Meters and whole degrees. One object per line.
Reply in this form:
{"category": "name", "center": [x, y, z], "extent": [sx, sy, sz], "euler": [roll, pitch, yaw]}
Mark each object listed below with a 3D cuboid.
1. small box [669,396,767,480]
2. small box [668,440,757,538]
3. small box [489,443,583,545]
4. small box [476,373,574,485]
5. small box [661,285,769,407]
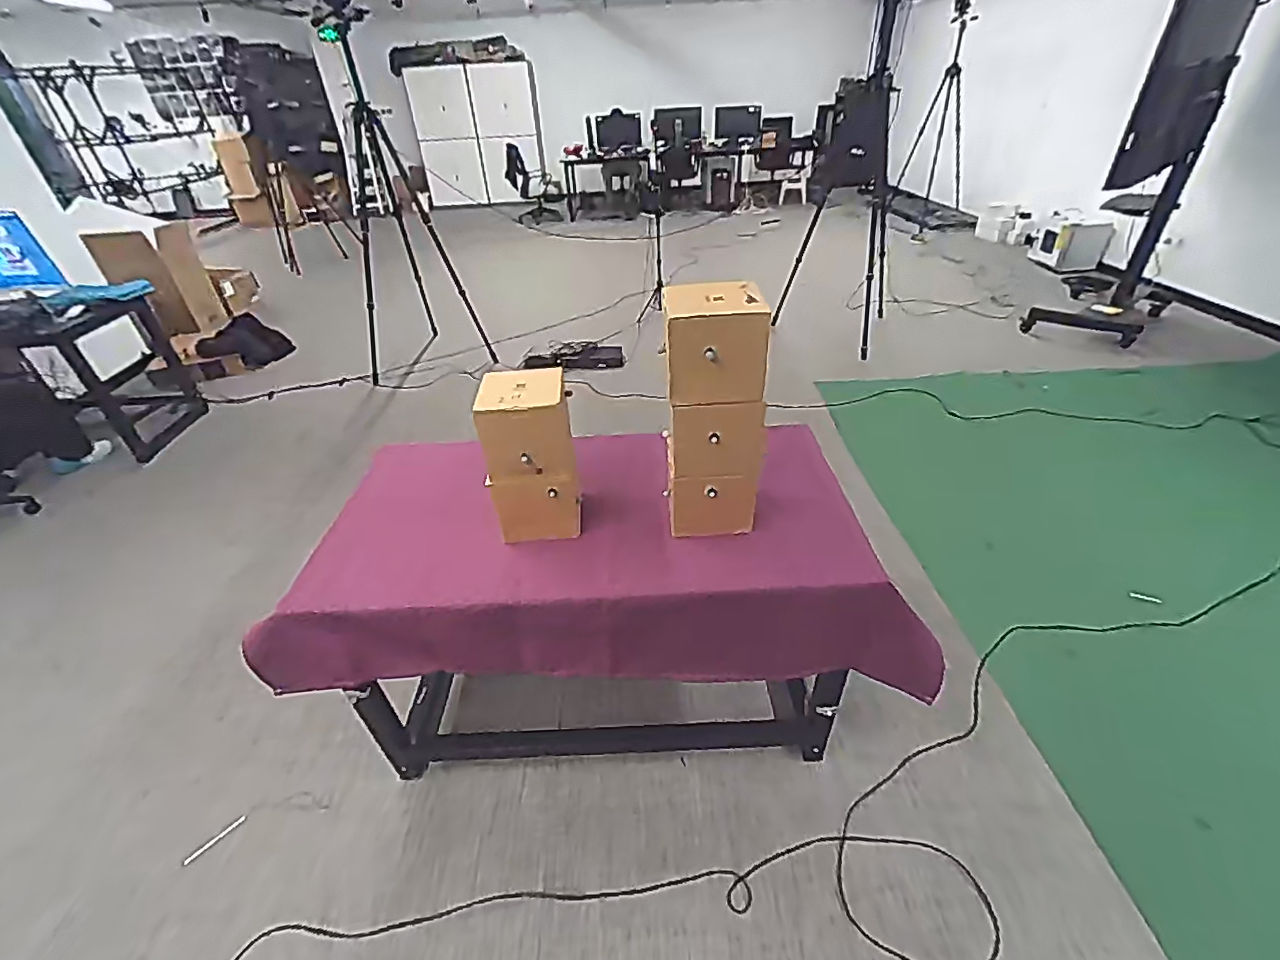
{"category": "small box", "center": [0.151, -0.115, 1.102], "extent": [0.179, 0.176, 0.168], "euler": [-4, 37, 2]}
{"category": "small box", "center": [0.157, 0.016, 1.200], "extent": [0.179, 0.176, 0.168], "euler": [-3, 36, 1]}
{"category": "small box", "center": [-0.227, 0.032, 1.218], "extent": [0.179, 0.176, 0.168], "euler": [-5, 35, -3]}
{"category": "small box", "center": [-0.231, -0.108, 1.130], "extent": [0.168, 0.176, 0.179], "euler": [-5, 36, -2]}
{"category": "small box", "center": [0.135, -0.247, 1.005], "extent": [0.179, 0.176, 0.168], "euler": [-4, 37, 2]}
